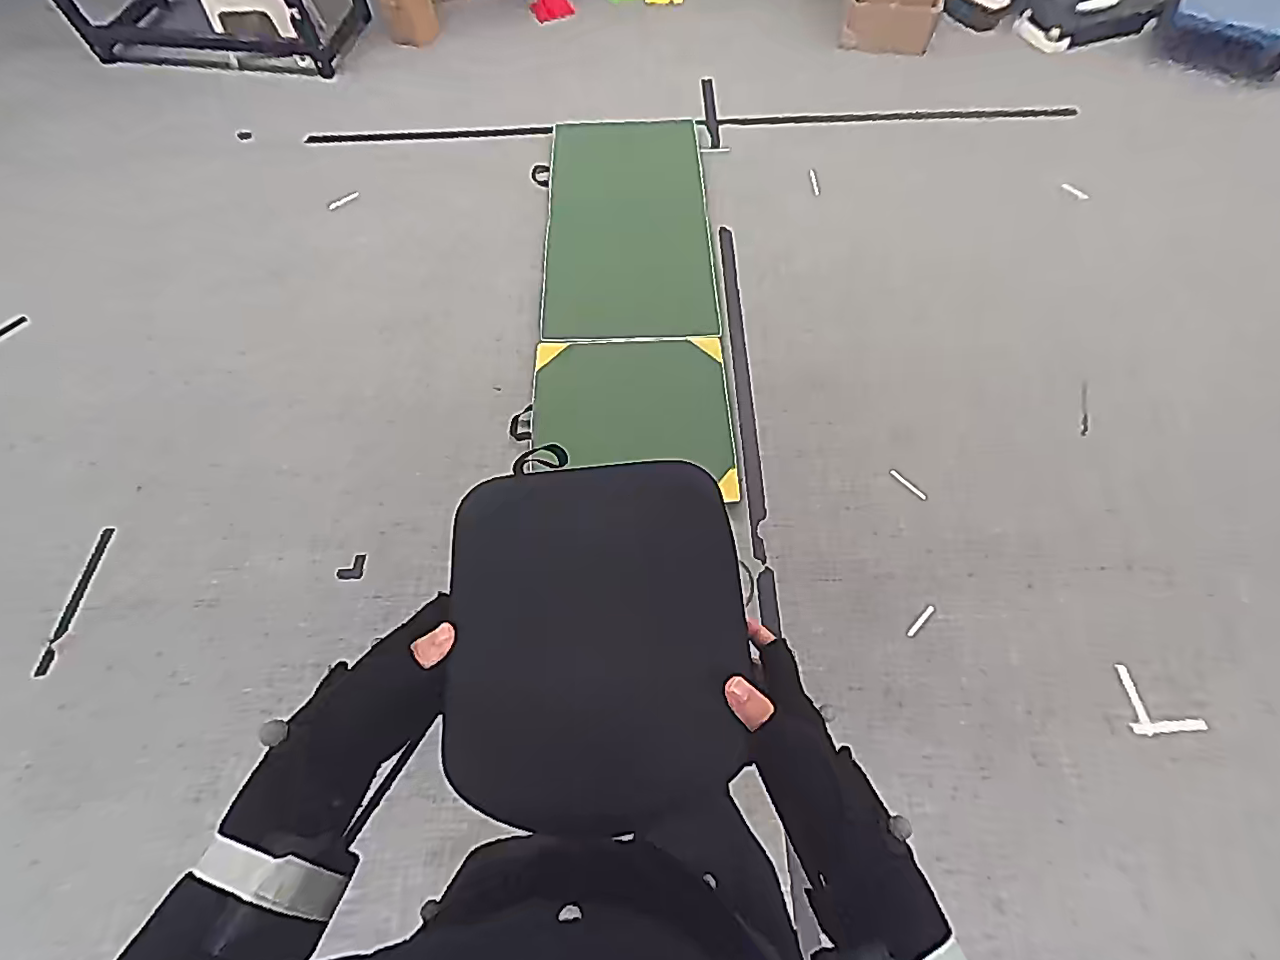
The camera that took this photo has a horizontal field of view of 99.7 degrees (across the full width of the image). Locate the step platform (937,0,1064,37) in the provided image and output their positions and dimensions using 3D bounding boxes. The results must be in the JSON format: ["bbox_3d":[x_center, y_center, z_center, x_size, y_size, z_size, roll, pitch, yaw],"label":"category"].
[{"bbox_3d":[1.856,-2.472,2.704,0.684,0.204,0.286,-29,67,-12],"label":"step platform"}]
